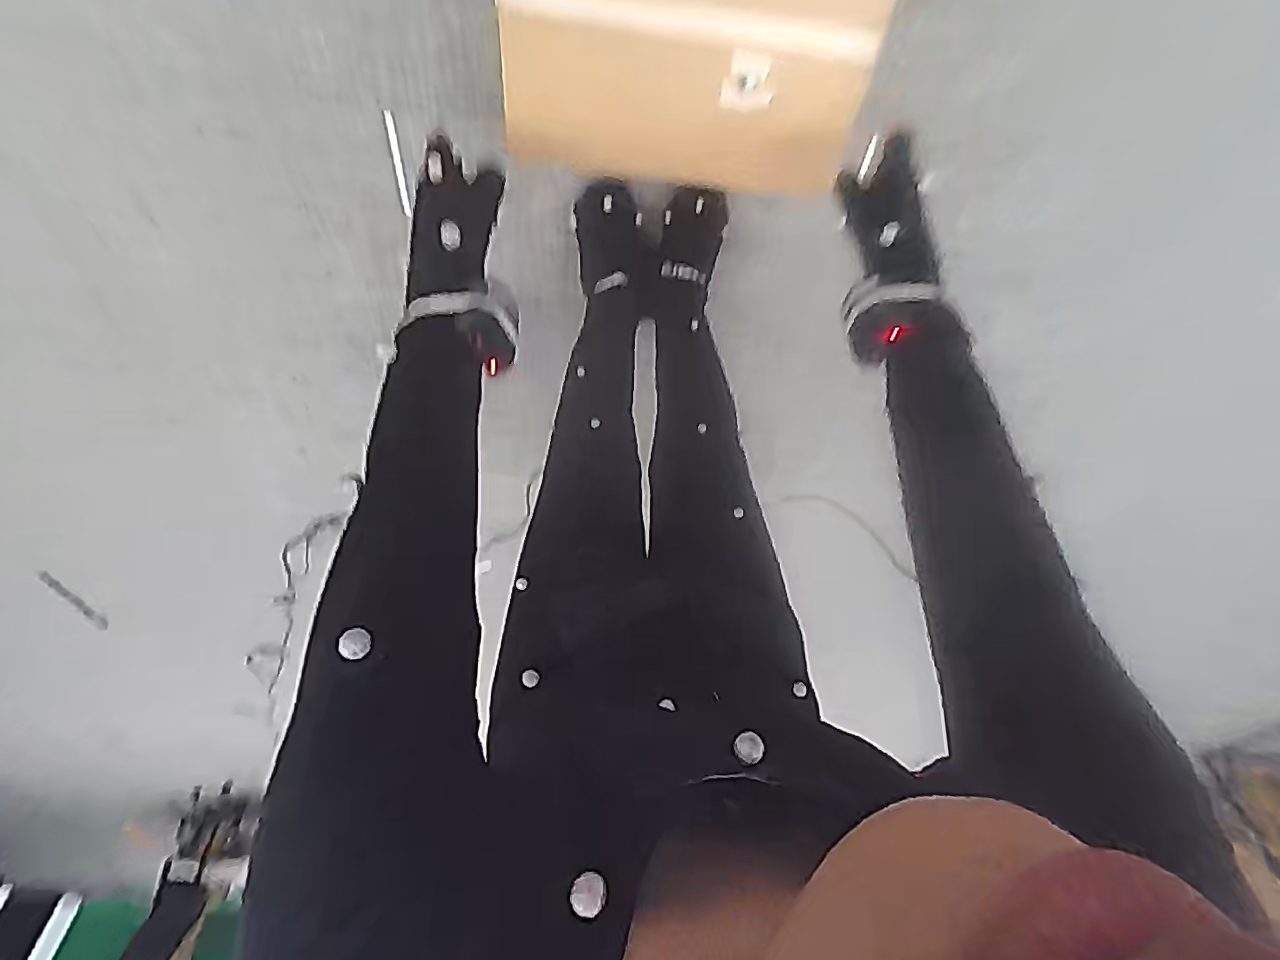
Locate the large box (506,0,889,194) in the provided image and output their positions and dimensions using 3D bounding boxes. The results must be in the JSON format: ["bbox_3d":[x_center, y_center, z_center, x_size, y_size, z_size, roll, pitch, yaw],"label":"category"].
[{"bbox_3d":[0.050,-0.588,0.673,0.408,0.320,0.320,2,137,-7],"label":"large box"}]
